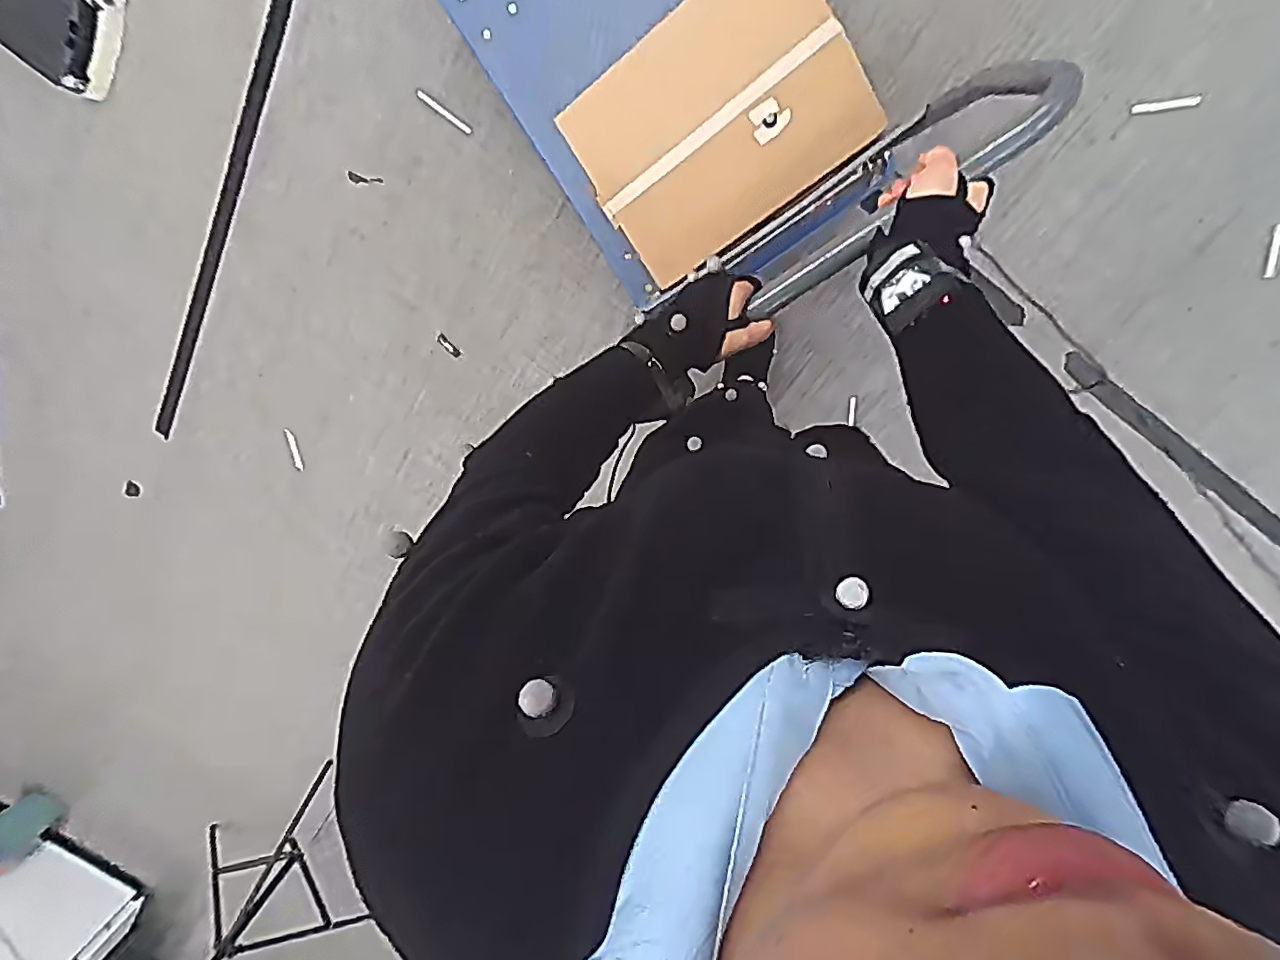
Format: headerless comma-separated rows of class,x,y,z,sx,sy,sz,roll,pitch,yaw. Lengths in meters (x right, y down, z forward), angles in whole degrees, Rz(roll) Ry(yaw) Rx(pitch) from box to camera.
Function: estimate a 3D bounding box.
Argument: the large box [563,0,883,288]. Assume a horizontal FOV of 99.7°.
large box,0.138,-0.593,0.968,0.408,0.320,0.320,-31,103,17
